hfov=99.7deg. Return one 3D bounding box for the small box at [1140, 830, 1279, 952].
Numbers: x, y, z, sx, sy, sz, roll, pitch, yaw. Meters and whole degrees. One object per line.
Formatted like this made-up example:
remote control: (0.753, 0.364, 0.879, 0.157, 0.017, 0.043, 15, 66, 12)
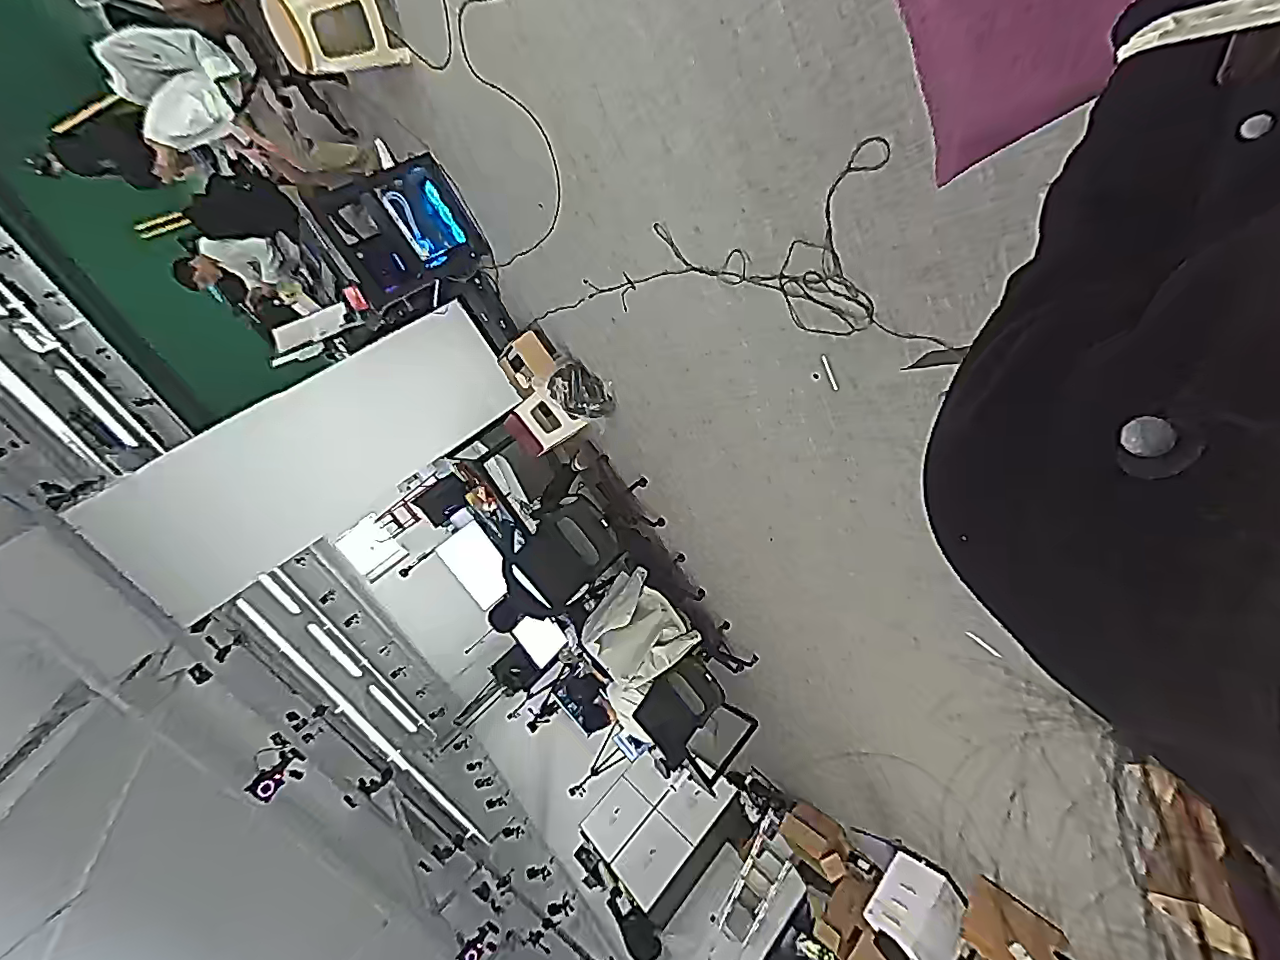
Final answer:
small box: (1.442, 1.025, 1.368, 0.168, 0.176, 0.179, 43, 155, 15)
